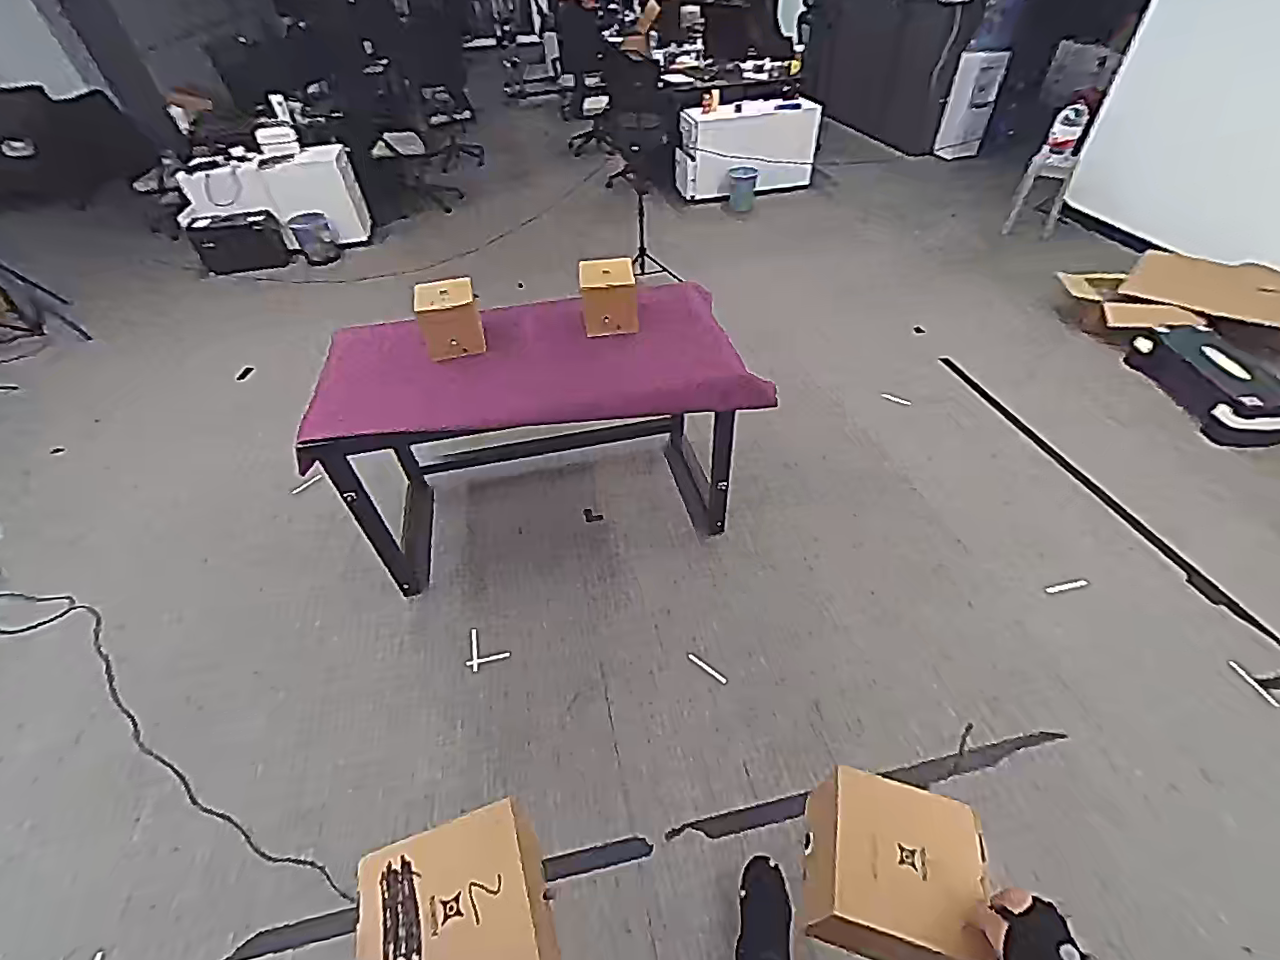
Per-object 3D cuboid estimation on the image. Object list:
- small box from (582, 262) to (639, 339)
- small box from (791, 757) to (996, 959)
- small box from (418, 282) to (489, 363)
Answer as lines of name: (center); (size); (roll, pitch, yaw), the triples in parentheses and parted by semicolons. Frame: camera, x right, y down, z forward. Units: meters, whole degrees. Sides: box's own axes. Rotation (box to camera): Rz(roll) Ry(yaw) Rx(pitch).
small box: (-0.093, -0.571, 1.720); (0.168, 0.176, 0.179); (-6, 47, -2)
small box: (0.310, 0.492, 0.693); (0.179, 0.176, 0.168); (15, 44, 8)
small box: (-0.570, -0.484, 1.663); (0.168, 0.176, 0.179); (-13, 46, -9)
